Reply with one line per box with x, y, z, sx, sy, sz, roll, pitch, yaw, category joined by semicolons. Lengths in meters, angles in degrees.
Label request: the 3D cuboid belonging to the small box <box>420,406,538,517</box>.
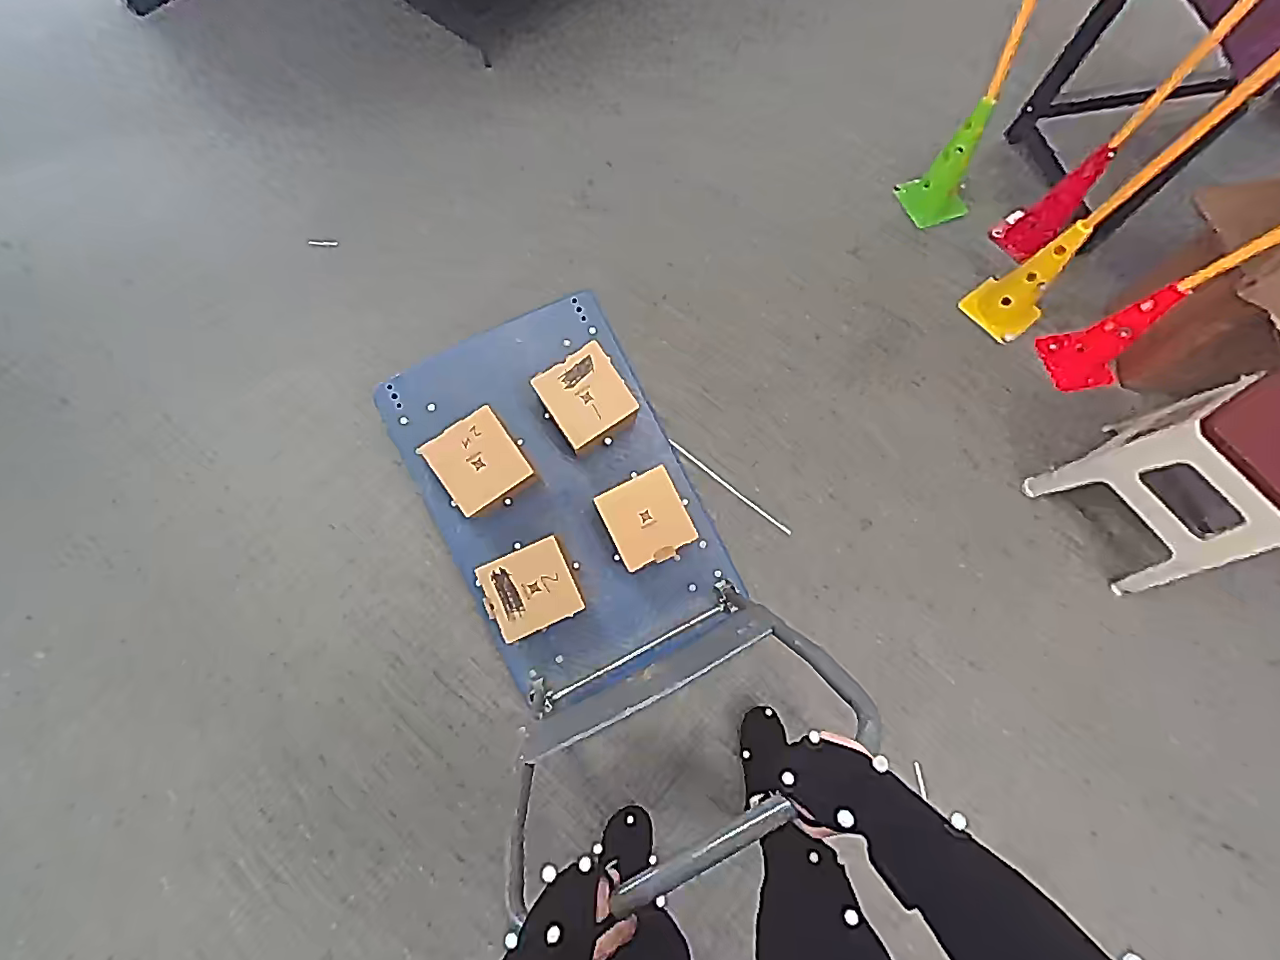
-0.339;-0.035;1.180;0.168;0.176;0.179;-35;90;-7;small box

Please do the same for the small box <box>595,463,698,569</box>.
0.006;0.080;1.203;0.168;0.176;0.179;-27;89;-6;small box

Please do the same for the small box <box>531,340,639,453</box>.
-0.122;-0.176;1.208;0.168;0.176;0.179;-34;90;-6;small box
